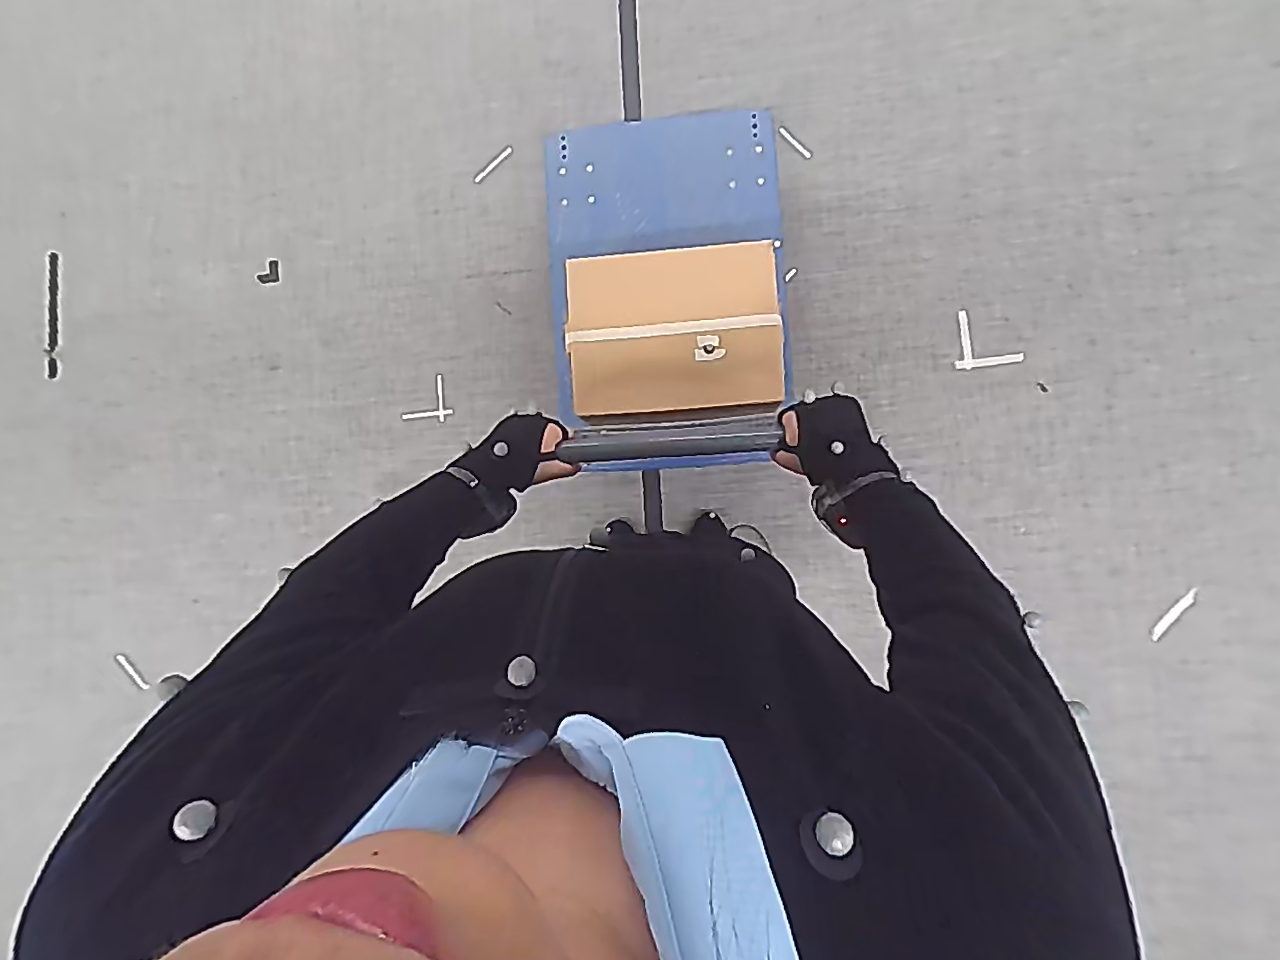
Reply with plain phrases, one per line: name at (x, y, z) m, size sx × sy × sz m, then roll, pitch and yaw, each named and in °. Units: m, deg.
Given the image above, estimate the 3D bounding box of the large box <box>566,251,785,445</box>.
large box at (0.072, -0.259, 1.175) m, size 0.408 × 0.320 × 0.320 m, roll -4°, pitch 88°, yaw 4°
